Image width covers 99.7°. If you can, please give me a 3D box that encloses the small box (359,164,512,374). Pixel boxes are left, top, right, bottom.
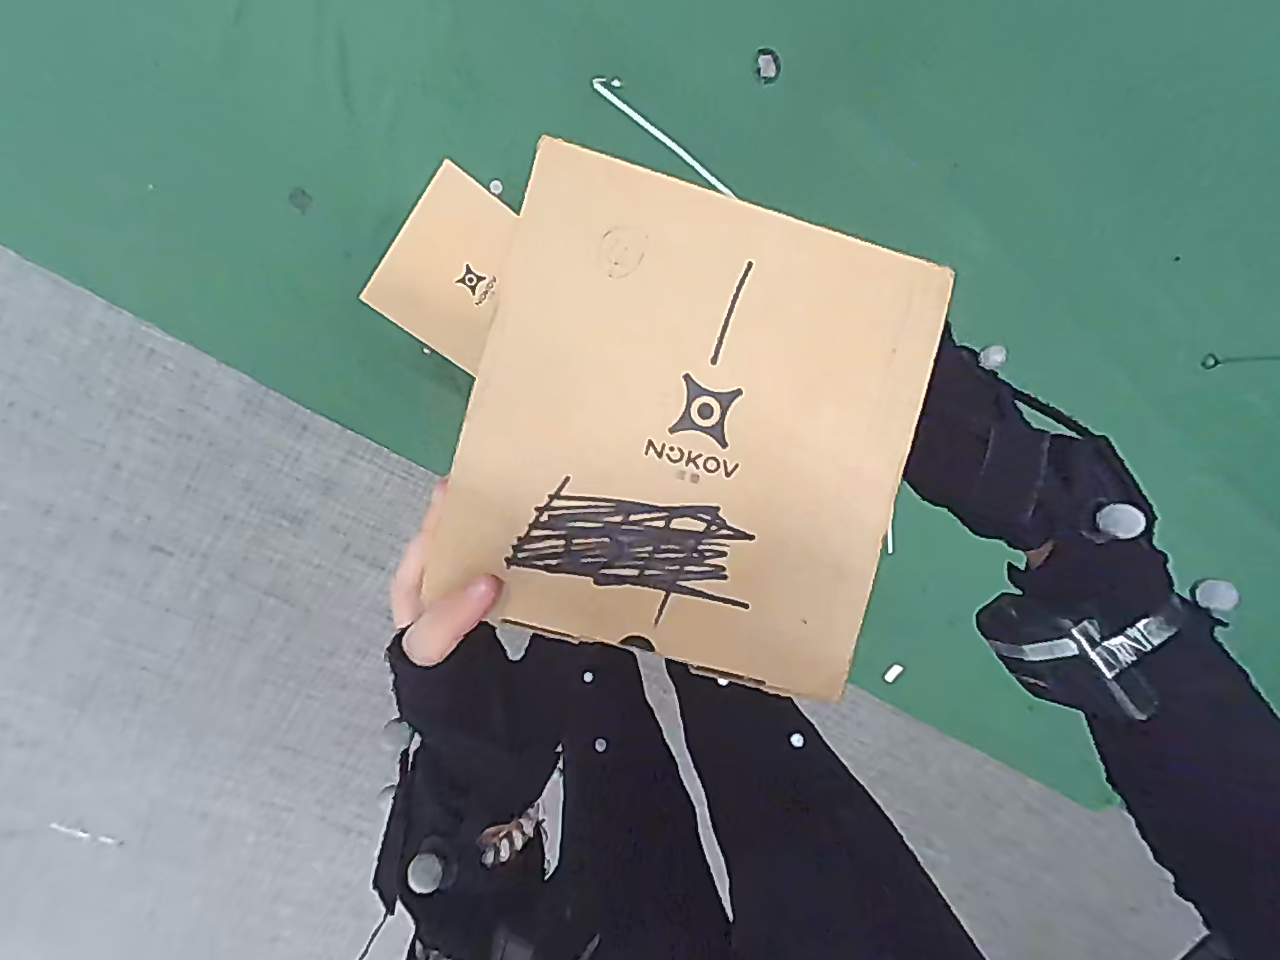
[{"bbox_3d":[-0.186,-0.225,0.641,0.179,0.176,0.168,34,100,-19],"label":"small box"}]

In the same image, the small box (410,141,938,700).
[{"bbox_3d":[0.008,-0.020,0.282,0.168,0.176,0.179,15,90,-7],"label":"small box"}]
